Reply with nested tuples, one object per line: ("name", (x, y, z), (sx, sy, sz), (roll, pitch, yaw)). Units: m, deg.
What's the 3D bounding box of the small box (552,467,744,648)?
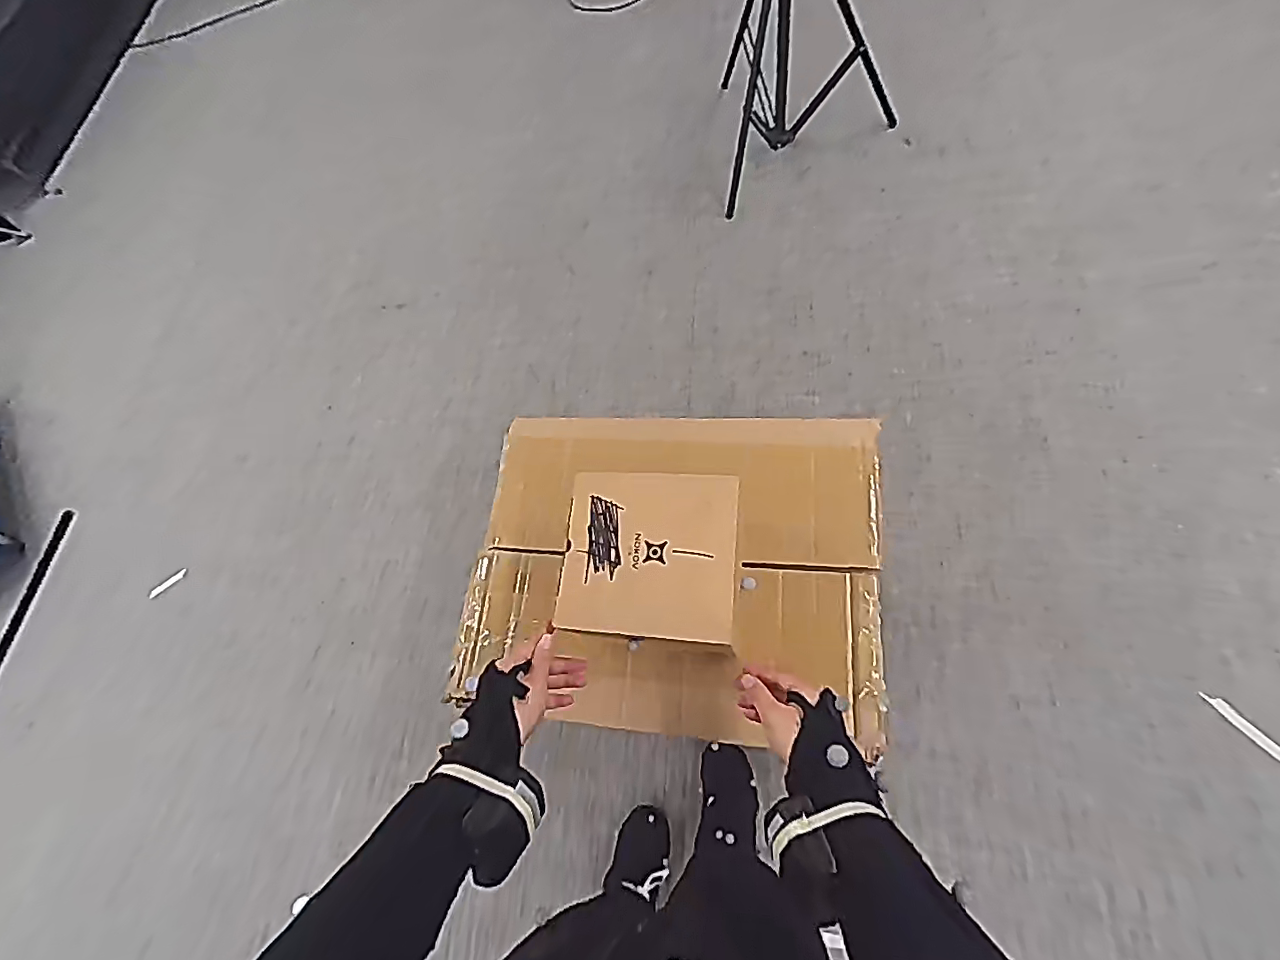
("small box", (0.022, 0.093, 0.608), (0.179, 0.176, 0.168), (2, 70, 13))
